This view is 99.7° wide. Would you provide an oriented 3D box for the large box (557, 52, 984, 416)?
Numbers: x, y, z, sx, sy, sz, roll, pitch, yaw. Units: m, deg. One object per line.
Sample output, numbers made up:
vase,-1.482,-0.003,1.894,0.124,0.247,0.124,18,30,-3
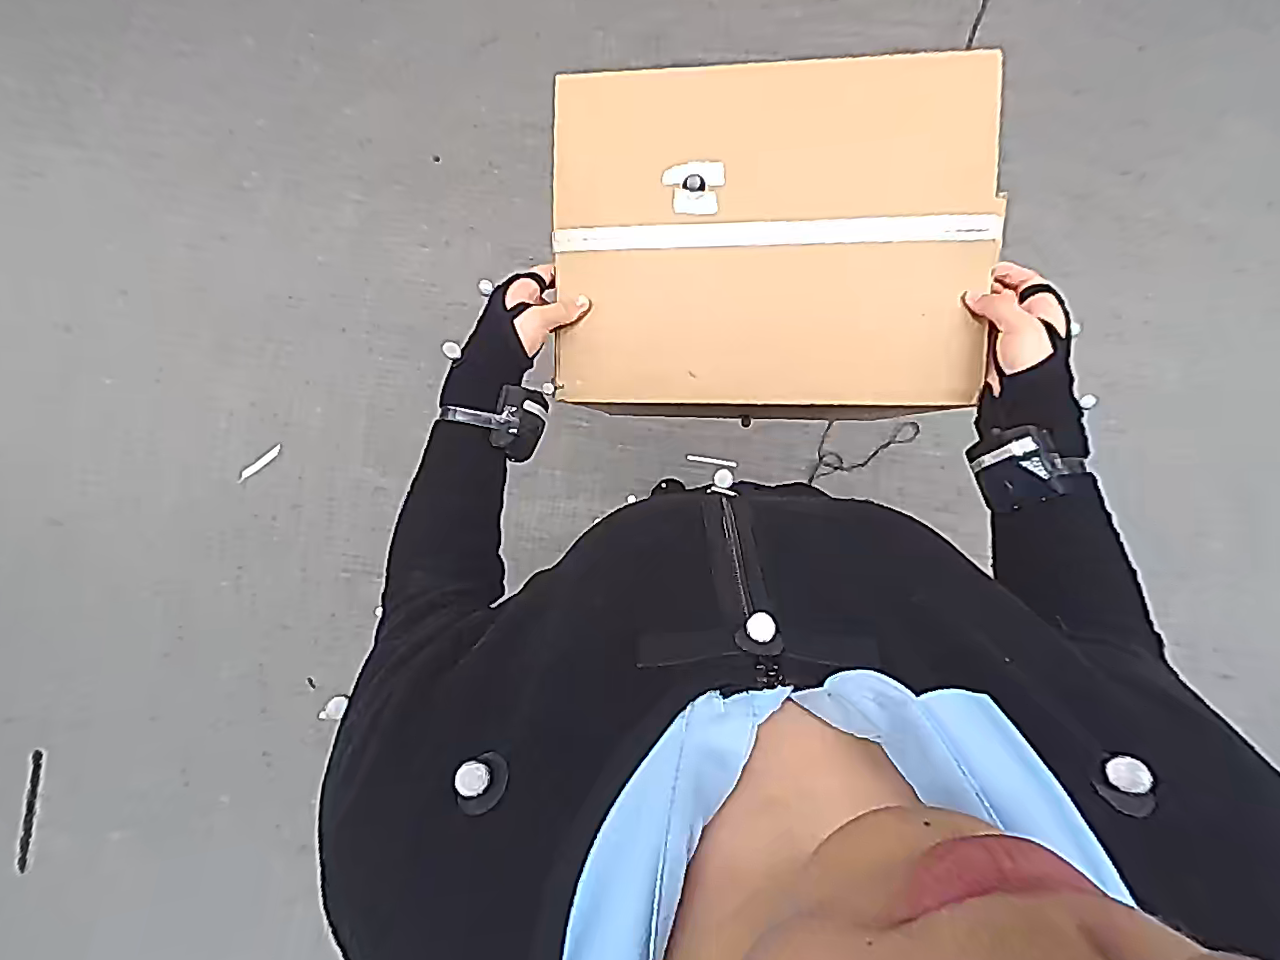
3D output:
large box,0.137,-0.241,0.667,0.408,0.320,0.320,1,93,8
